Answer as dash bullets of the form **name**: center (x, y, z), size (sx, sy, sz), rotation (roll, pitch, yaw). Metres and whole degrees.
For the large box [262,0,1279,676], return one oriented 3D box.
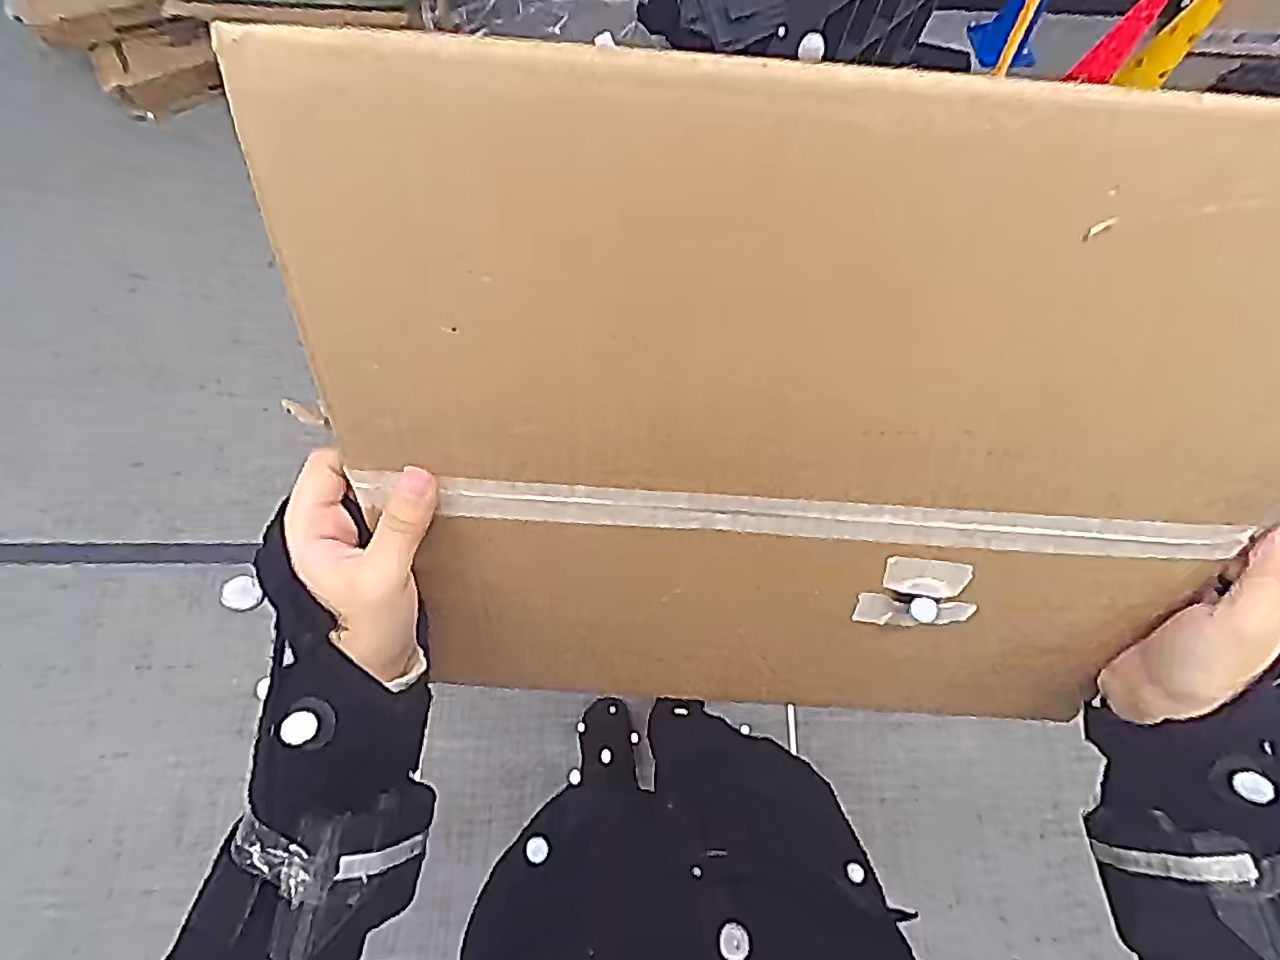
- **large box**: center (0.082, -0.098, 0.362), size (0.408, 0.320, 0.320), rotation (3, 37, -1)
